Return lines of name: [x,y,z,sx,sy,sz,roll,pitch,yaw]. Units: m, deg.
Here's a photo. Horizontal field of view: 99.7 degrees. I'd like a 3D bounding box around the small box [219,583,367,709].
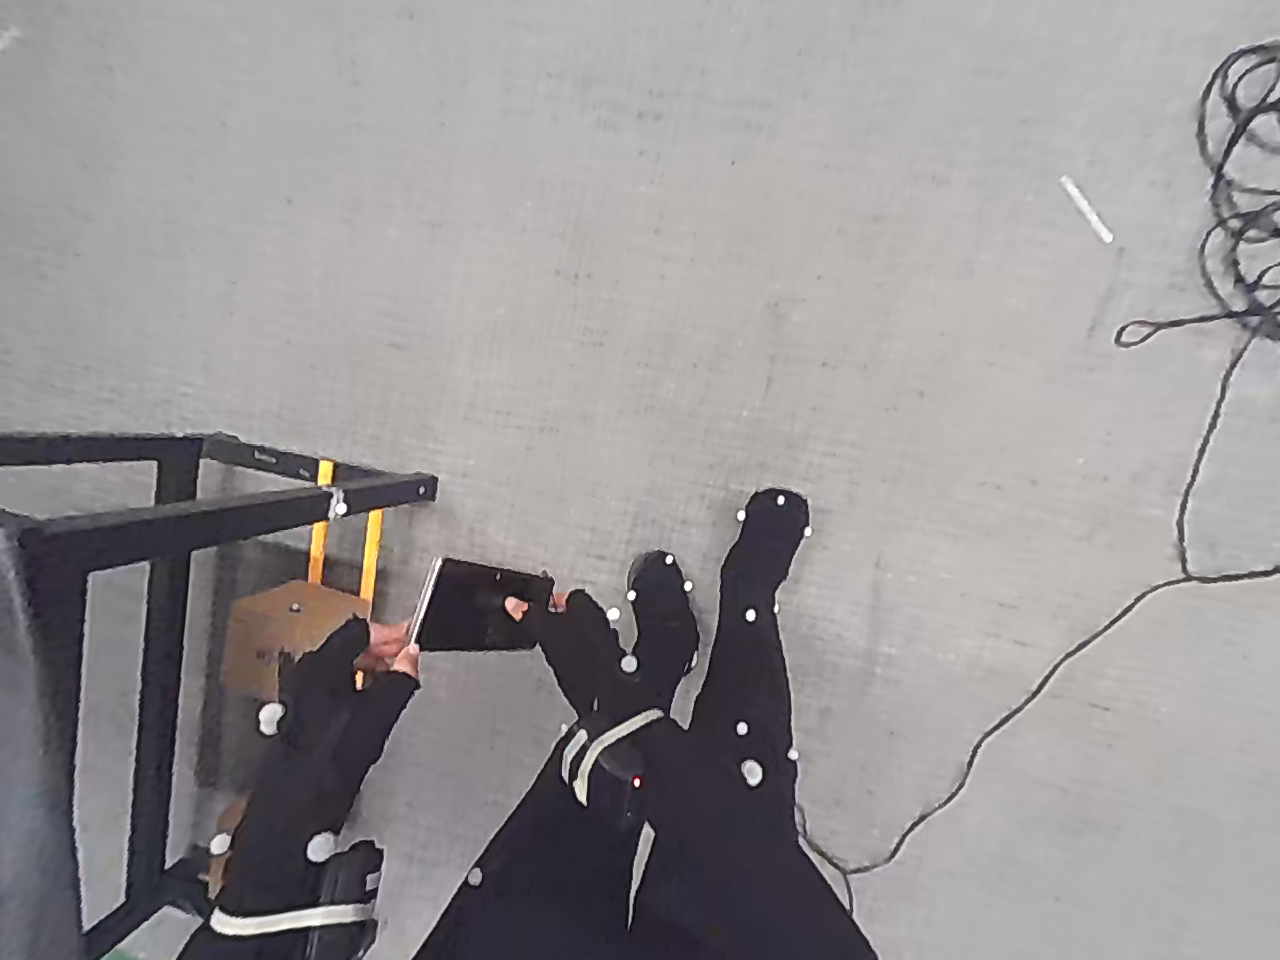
small box: [-0.679,0.318,1.074,0.179,0.176,0.168,14,97,8]
